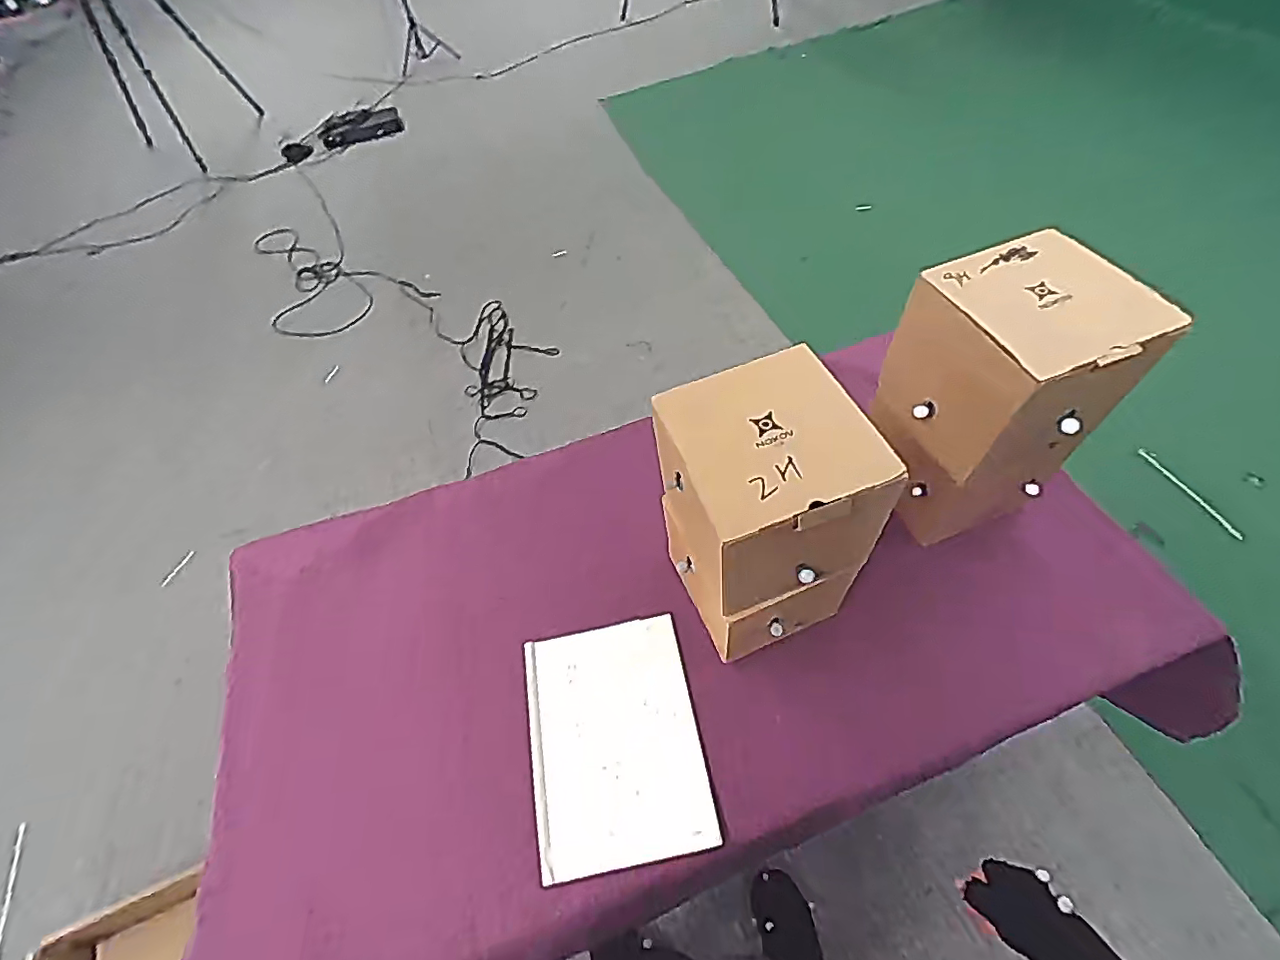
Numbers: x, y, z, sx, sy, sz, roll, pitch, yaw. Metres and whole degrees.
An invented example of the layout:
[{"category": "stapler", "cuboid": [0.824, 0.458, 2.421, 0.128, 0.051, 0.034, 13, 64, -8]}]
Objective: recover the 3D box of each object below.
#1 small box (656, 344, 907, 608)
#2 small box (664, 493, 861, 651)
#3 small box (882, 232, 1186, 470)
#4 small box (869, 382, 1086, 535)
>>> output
[{"category": "small box", "cuboid": [0.125, 0.001, 0.546, 0.168, 0.176, 0.179, -20, 56, -5]}, {"category": "small box", "cuboid": [0.143, 0.097, 0.679, 0.168, 0.176, 0.179, -22, 56, -7]}, {"category": "small box", "cuboid": [0.403, -0.131, 0.595, 0.168, 0.176, 0.179, -19, 57, -6]}, {"category": "small box", "cuboid": [0.426, -0.044, 0.732, 0.168, 0.176, 0.179, -19, 56, -5]}]
